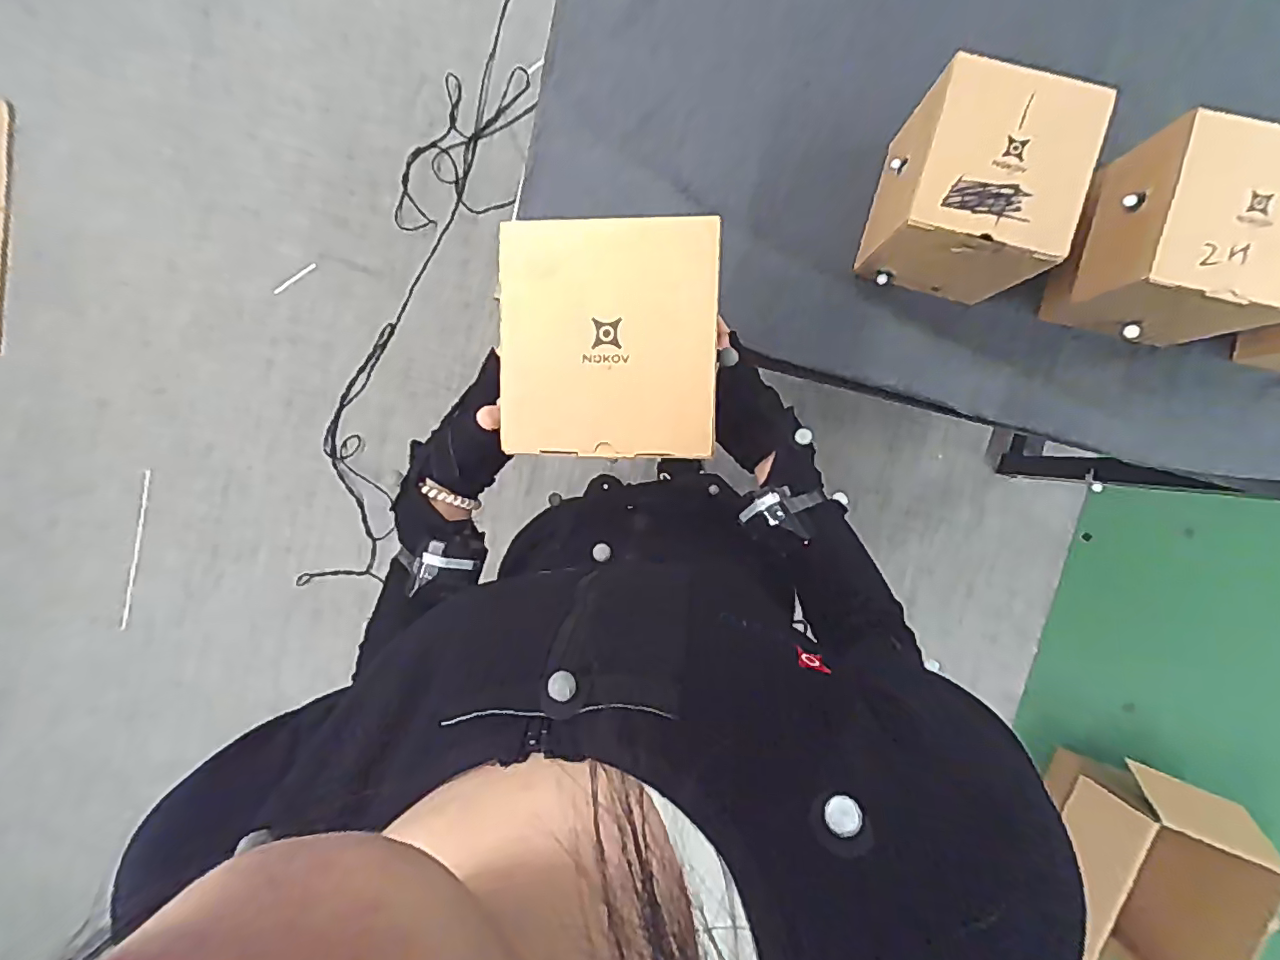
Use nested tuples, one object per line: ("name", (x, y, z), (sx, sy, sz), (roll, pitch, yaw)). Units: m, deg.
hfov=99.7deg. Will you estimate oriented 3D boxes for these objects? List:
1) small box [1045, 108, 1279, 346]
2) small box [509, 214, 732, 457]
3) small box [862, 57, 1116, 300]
("small box", (0.614, -0.270, 0.618), (0.168, 0.176, 0.179), (14, 94, 2))
("small box", (-0.010, -0.114, 0.480), (0.168, 0.176, 0.179), (1, 97, 6))
("small box", (0.380, -0.328, 0.627), (0.168, 0.176, 0.179), (15, 93, 2))
